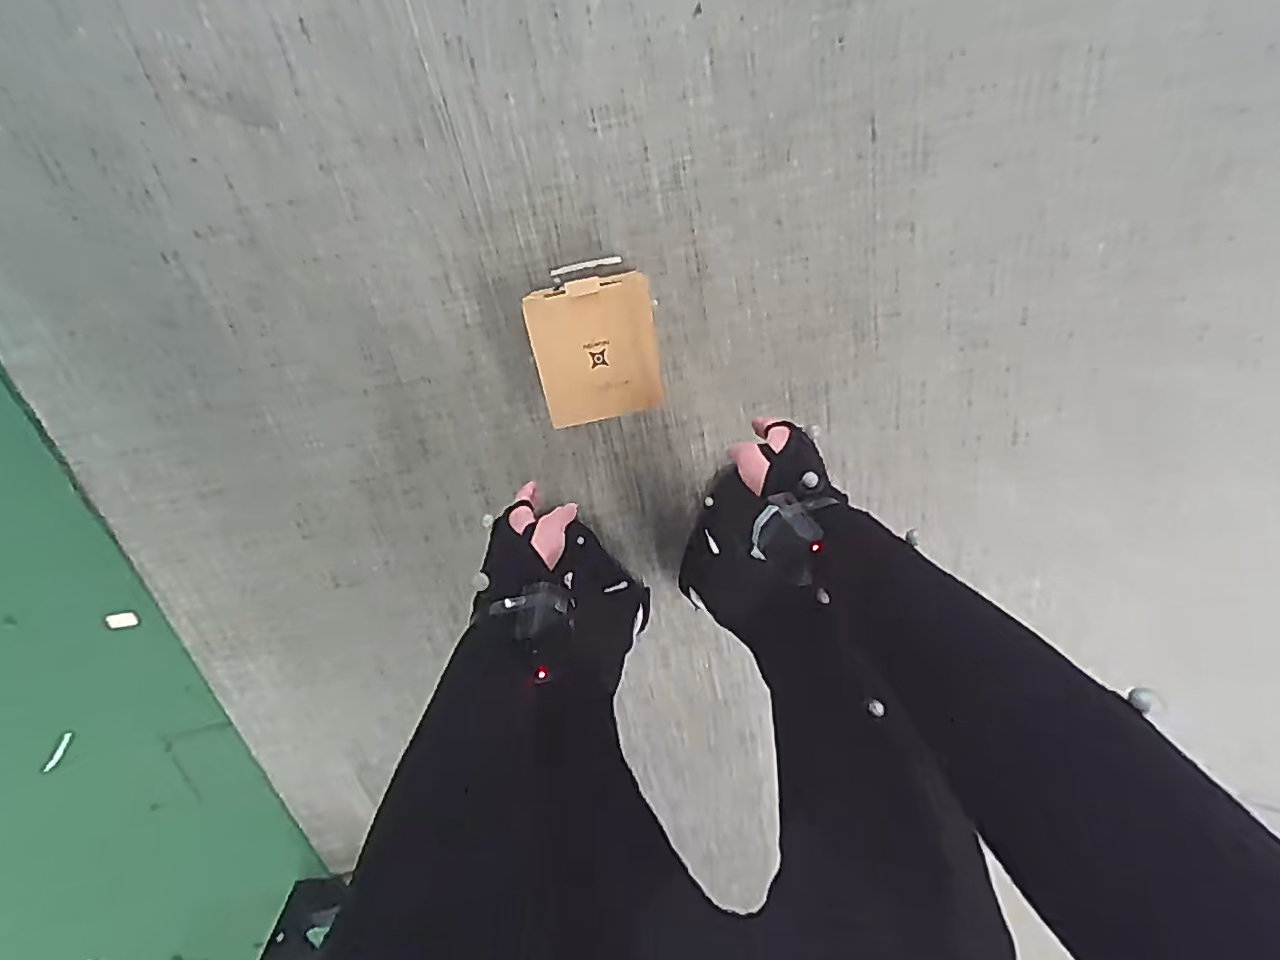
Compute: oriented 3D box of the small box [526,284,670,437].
[{"bbox_3d":[-0.056,-0.178,0.772,0.168,0.176,0.179,-9,113,1],"label":"small box"}]
